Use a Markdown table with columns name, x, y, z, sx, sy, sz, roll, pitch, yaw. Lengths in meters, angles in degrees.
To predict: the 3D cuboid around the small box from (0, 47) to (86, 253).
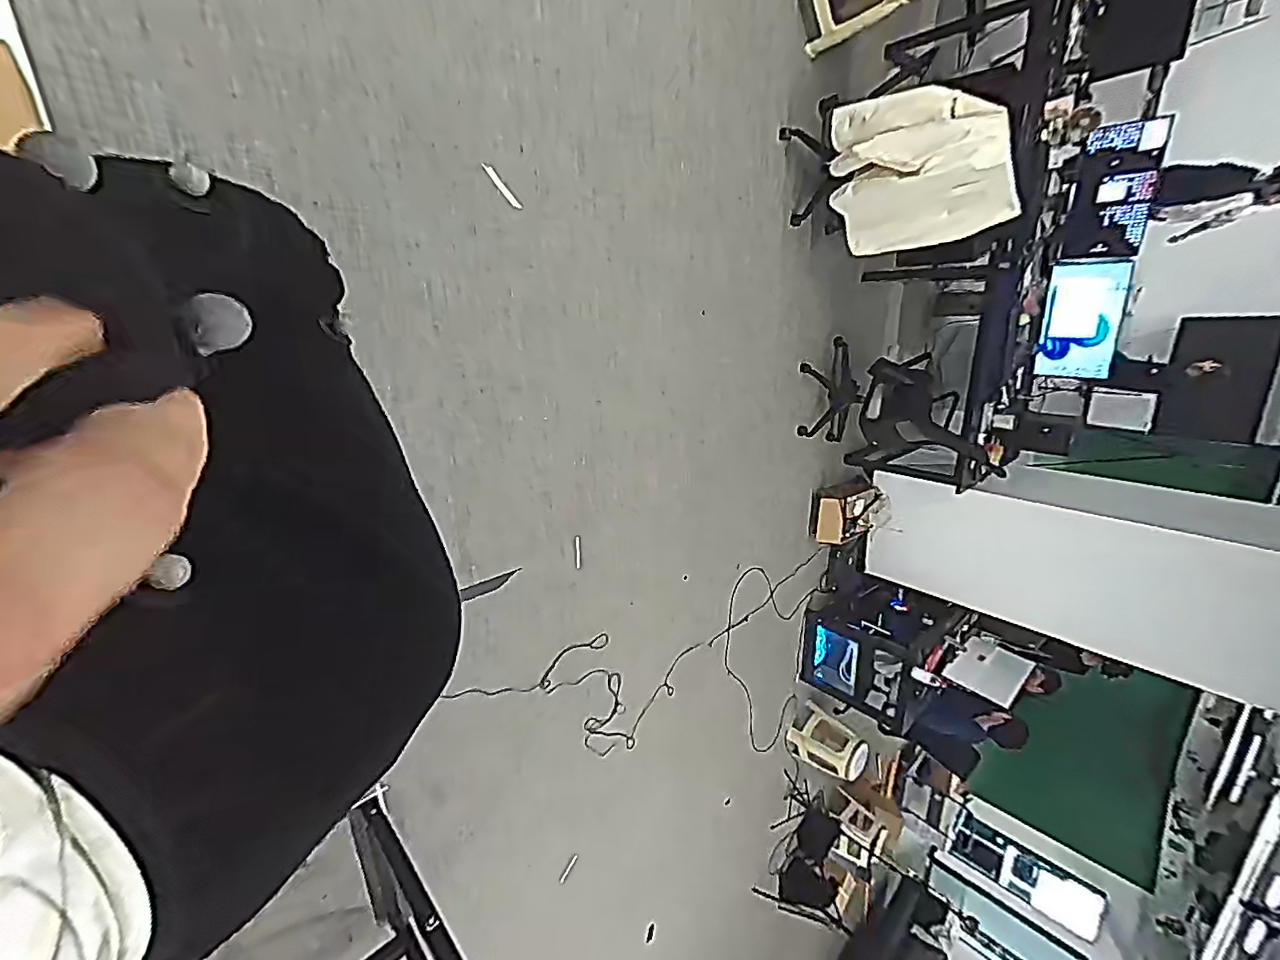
| name | x | y | z | sx | sy | sz | roll | pitch | yaw |
| --- | --- | --- | --- | --- | --- | --- | --- | --- | --- |
| small box | -0.739 | -0.347 | 0.578 | 0.168 | 0.176 | 0.179 | -20 | 115 | -38 |
